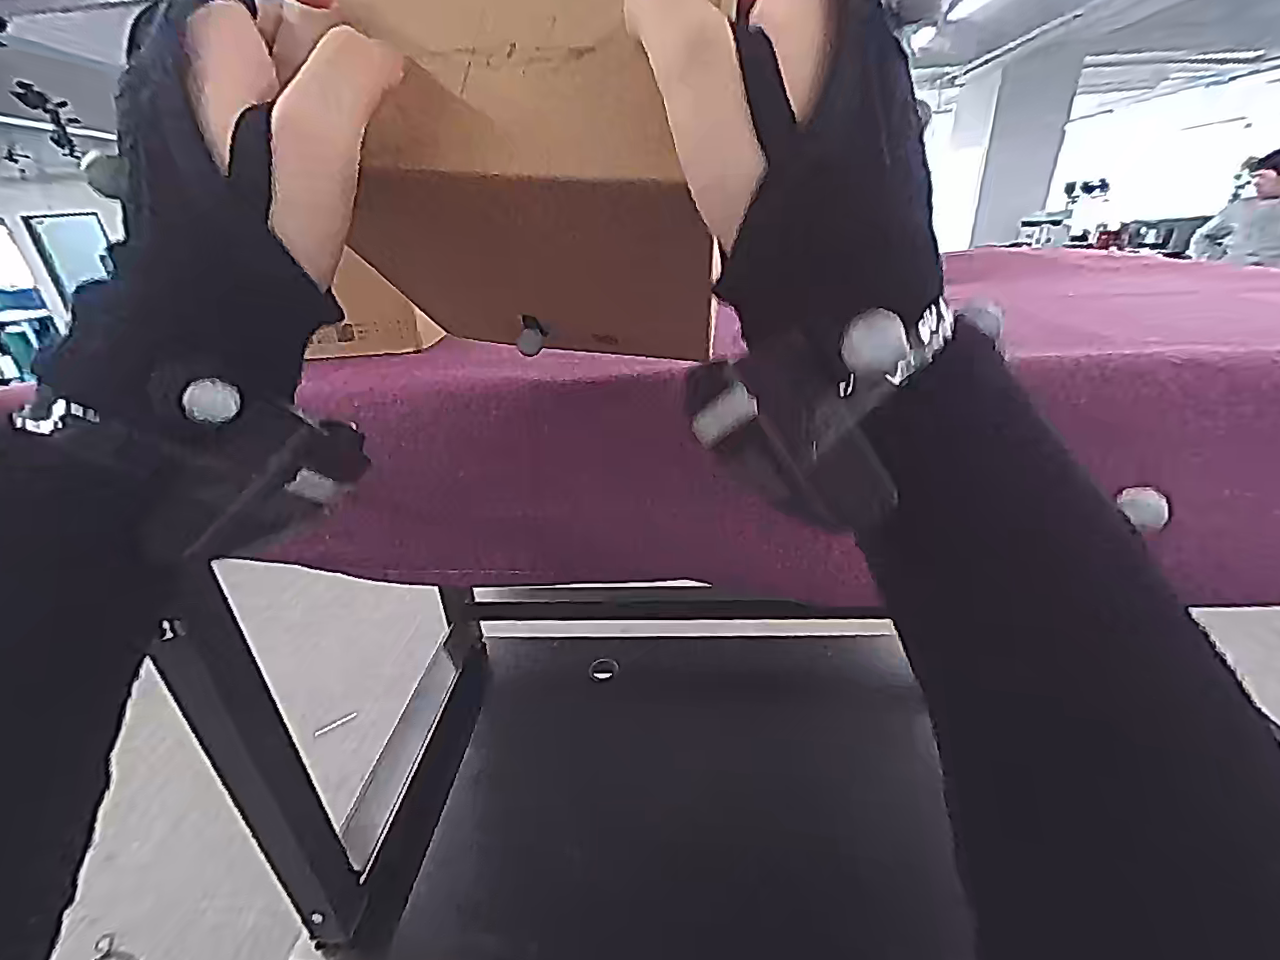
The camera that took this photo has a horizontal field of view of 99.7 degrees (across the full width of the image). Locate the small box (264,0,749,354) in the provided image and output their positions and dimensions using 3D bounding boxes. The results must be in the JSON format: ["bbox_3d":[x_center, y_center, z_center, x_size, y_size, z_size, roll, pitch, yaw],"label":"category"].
[{"bbox_3d":[-0.035,-0.184,0.274,0.168,0.179,0.176,6,-8,7],"label":"small box"}]

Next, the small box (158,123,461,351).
[{"bbox_3d":[-0.276,-0.219,0.505,0.168,0.176,0.179,-4,24,-3],"label":"small box"}]
